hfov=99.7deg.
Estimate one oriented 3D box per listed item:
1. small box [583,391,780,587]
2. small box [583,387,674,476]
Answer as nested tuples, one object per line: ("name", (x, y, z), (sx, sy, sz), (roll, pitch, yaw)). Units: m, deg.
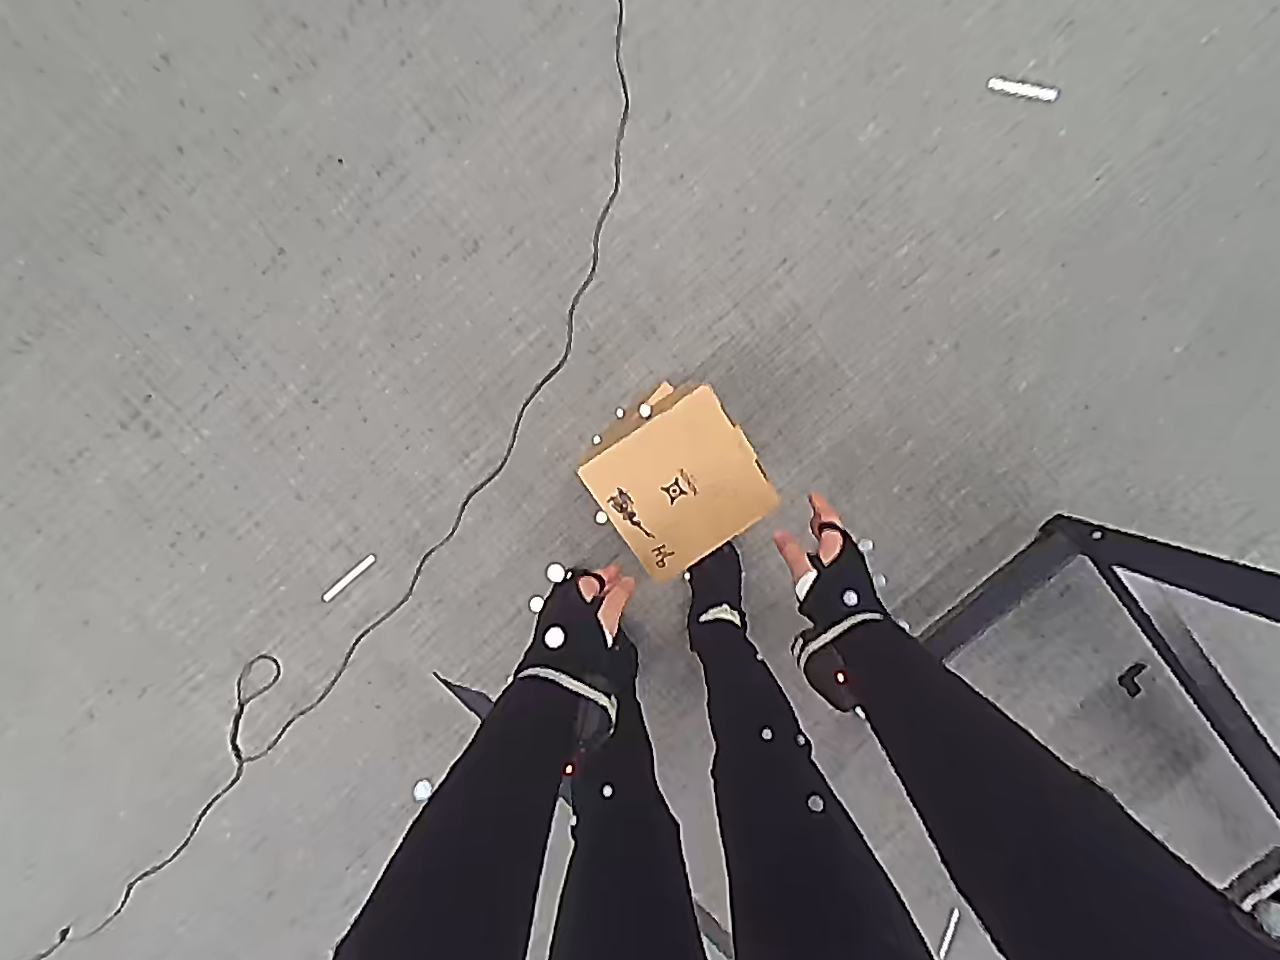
("small box", (0.041, 0.000, 0.691), (0.179, 0.176, 0.168), (-34, 99, 1))
("small box", (0.029, -0.026, 0.853), (0.168, 0.176, 0.179), (41, 93, -9))
